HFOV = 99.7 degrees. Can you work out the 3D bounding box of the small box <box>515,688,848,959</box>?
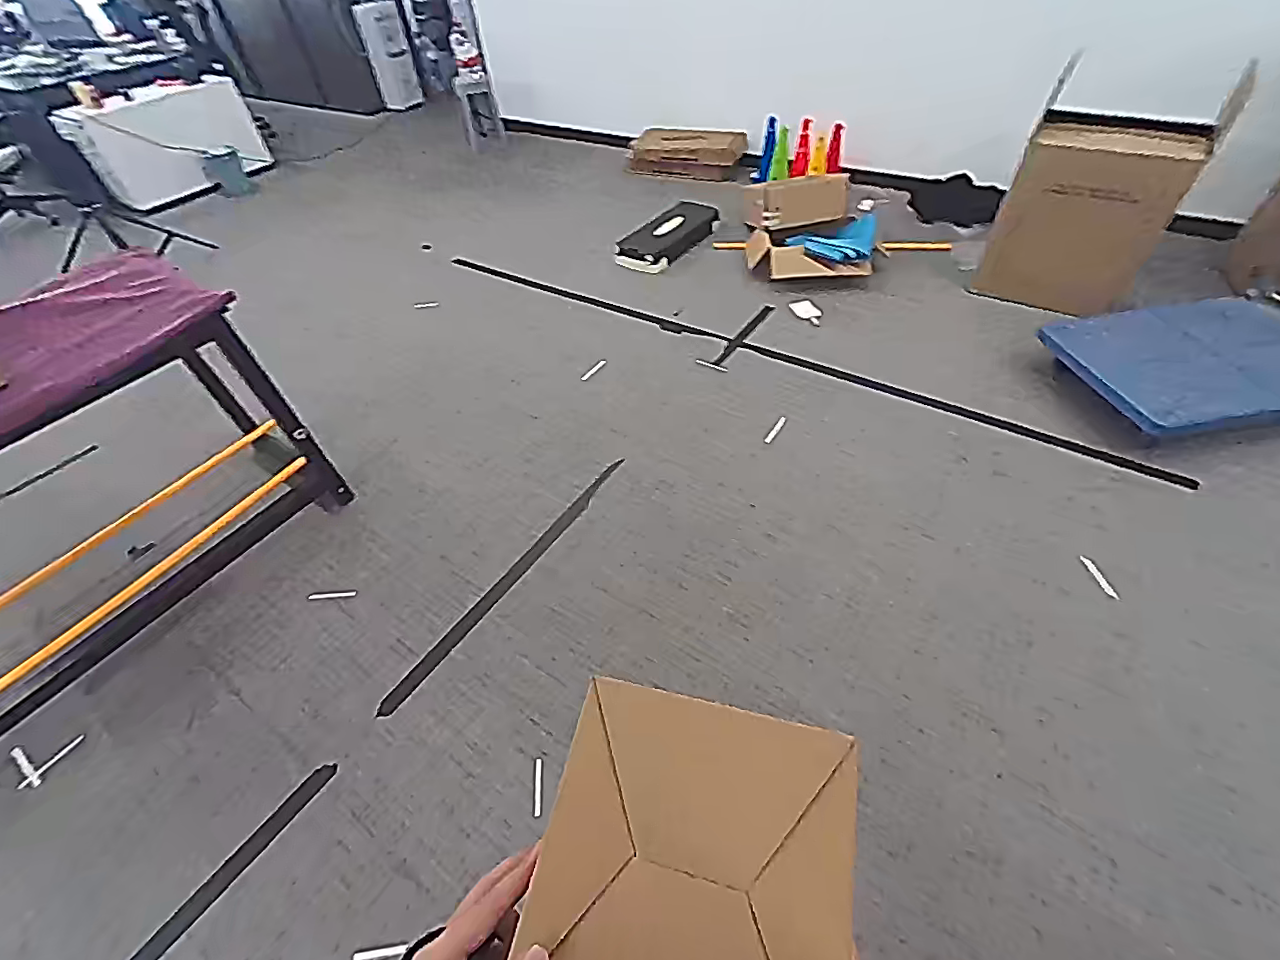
[{"bbox_3d":[0.035,0.260,0.354,0.168,0.176,0.179,8,57,14],"label":"small box"}]
